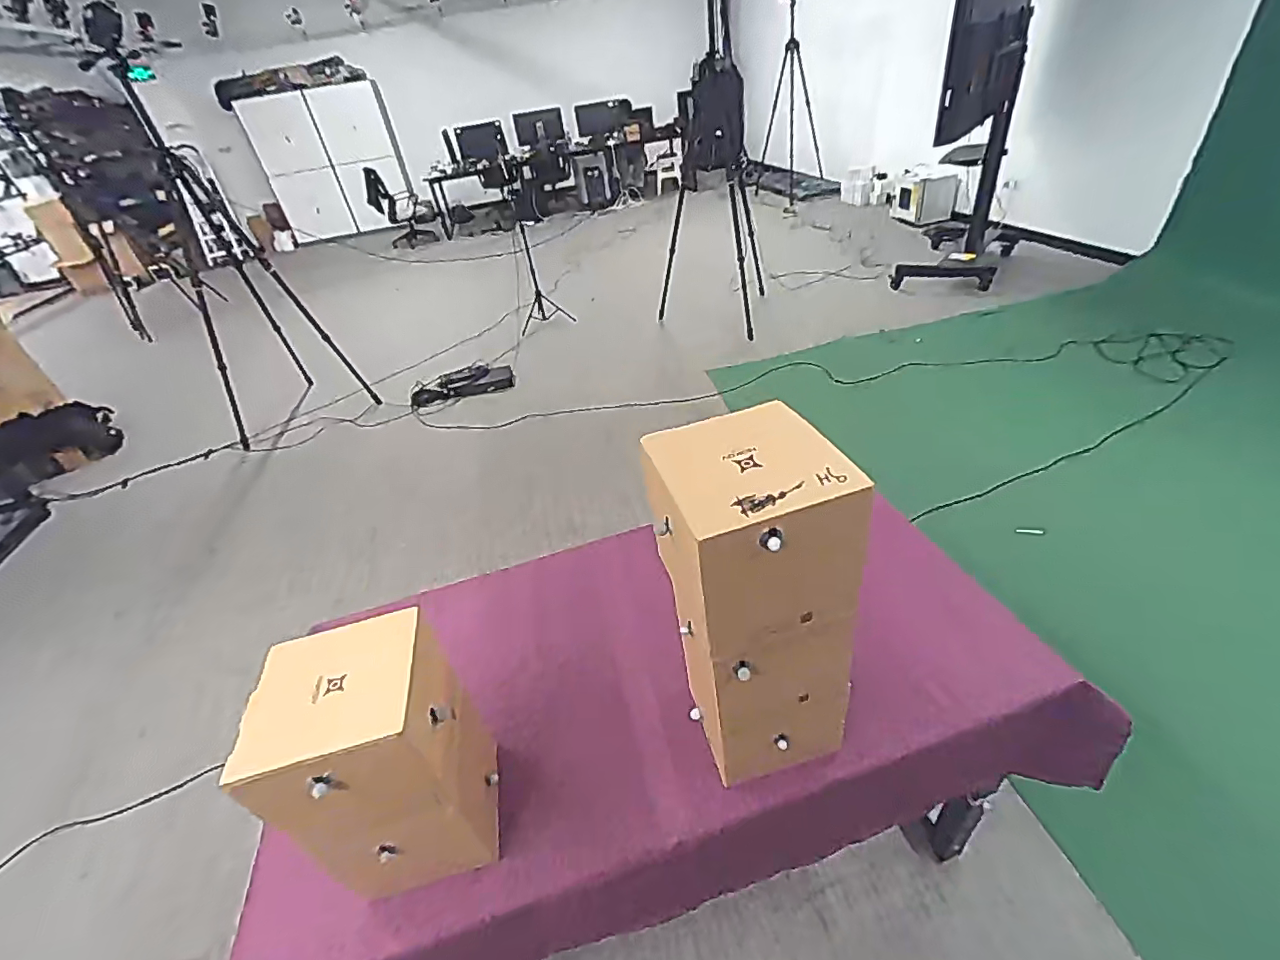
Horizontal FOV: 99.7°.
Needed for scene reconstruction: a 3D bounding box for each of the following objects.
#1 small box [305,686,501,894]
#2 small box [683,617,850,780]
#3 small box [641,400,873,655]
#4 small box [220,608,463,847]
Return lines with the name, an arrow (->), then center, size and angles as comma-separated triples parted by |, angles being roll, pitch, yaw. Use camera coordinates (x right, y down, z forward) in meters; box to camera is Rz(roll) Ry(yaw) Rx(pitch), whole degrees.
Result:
small box -> -0.297, 0.412, 0.720 | 0.179, 0.176, 0.168 | -14, 38, -6
small box -> 0.171, 0.290, 0.770 | 0.179, 0.176, 0.168 | -16, 37, -5
small box -> 0.110, 0.044, 0.559 | 0.168, 0.176, 0.179 | -17, 36, -8
small box -> -0.315, 0.282, 0.623 | 0.179, 0.176, 0.168 | -16, 37, -5
